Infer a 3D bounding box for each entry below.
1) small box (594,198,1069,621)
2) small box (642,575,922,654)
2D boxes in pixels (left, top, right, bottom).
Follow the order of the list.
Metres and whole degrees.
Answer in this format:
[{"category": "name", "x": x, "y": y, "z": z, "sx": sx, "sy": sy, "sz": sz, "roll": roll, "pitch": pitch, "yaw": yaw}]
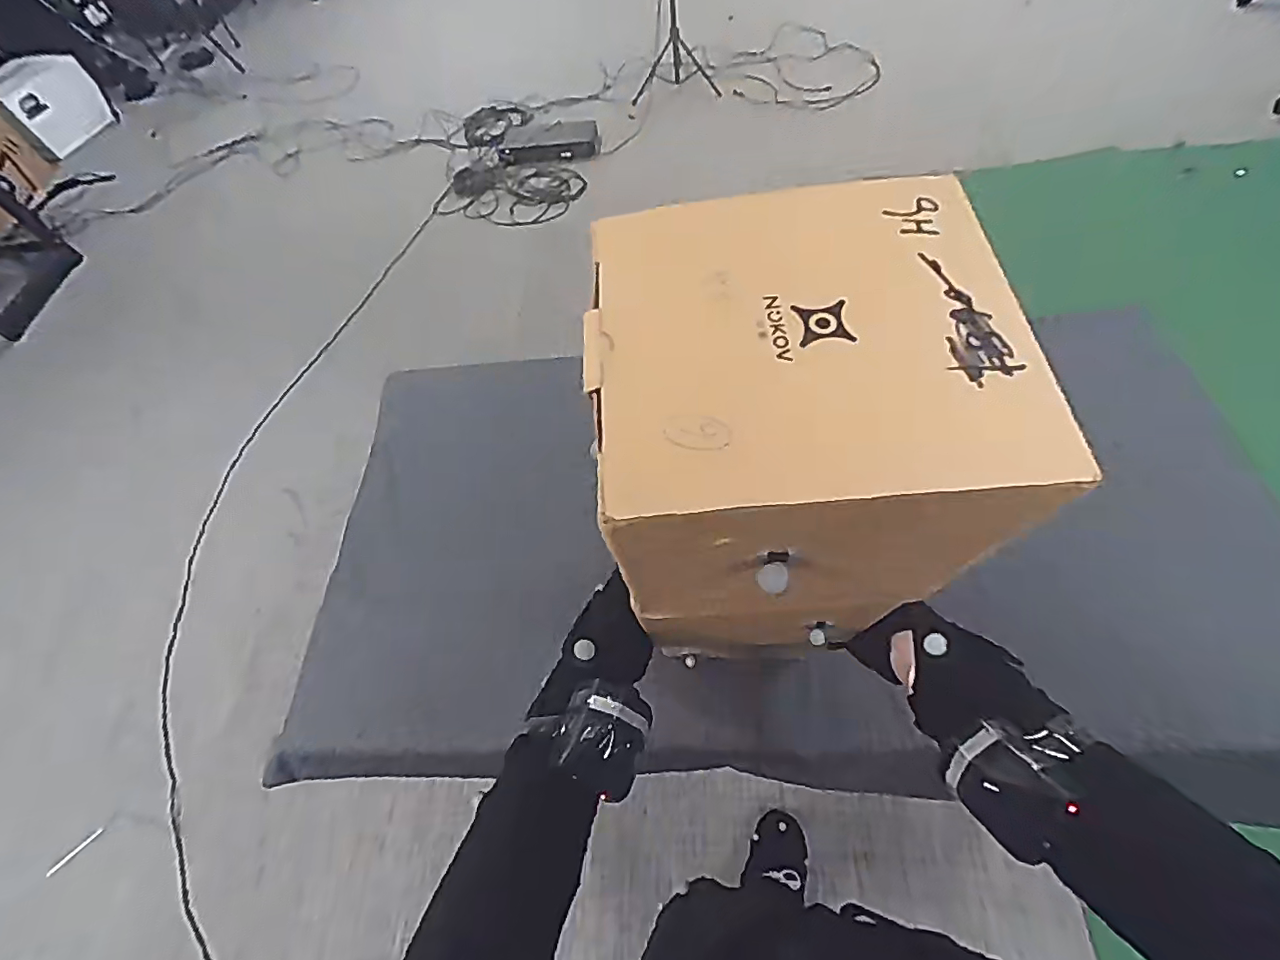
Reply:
[{"category": "small box", "x": 0.076, "y": -0.025, "z": 0.312, "sx": 0.179, "sy": 0.176, "sz": 0.168, "roll": -7, "pitch": 61, "yaw": 2}, {"category": "small box", "x": 0.089, "y": 0.040, "z": 0.441, "sx": 0.179, "sy": 0.176, "sz": 0.168, "roll": -7, "pitch": 63, "yaw": 2}]
